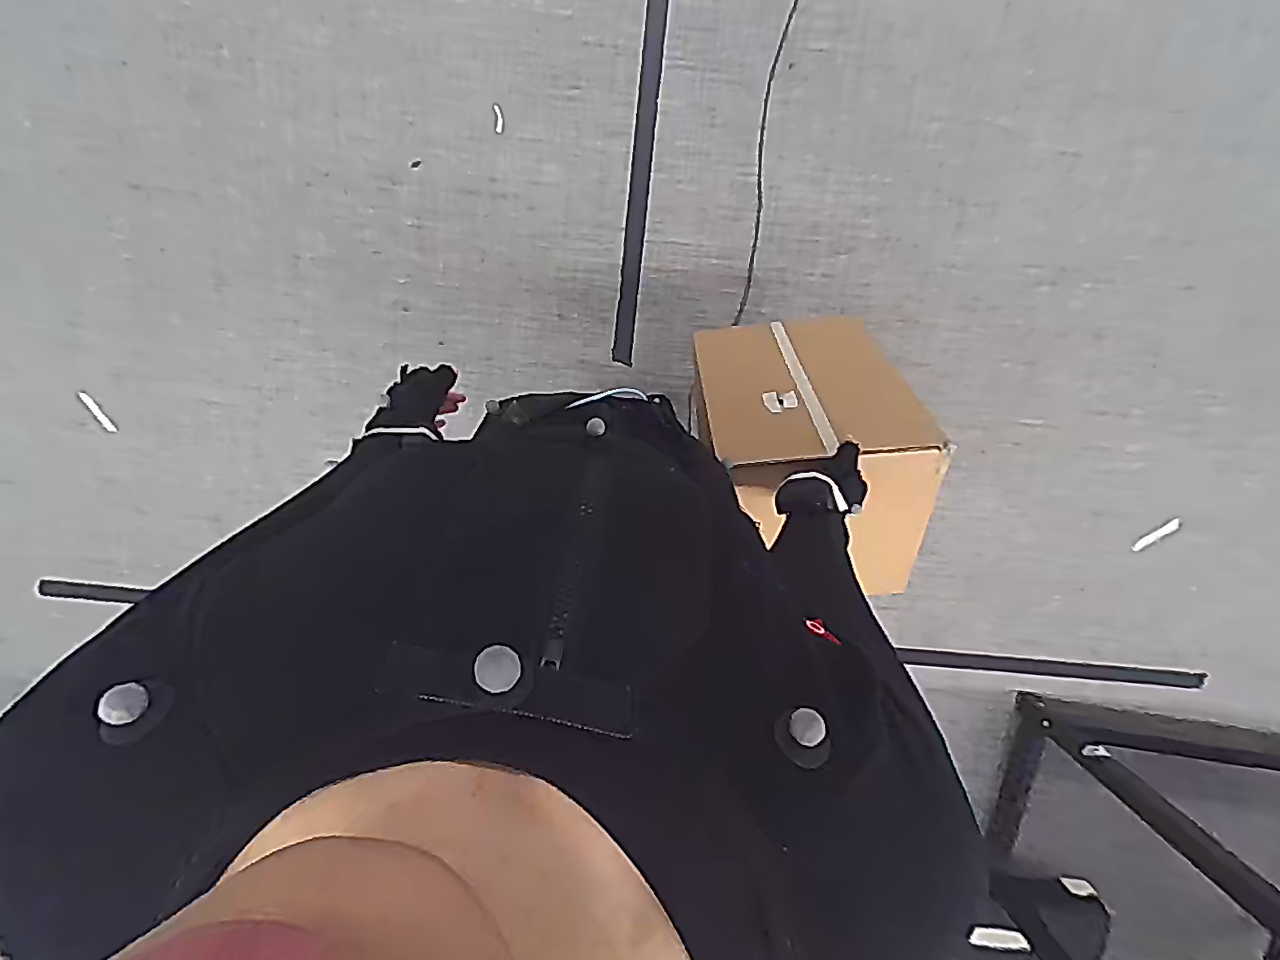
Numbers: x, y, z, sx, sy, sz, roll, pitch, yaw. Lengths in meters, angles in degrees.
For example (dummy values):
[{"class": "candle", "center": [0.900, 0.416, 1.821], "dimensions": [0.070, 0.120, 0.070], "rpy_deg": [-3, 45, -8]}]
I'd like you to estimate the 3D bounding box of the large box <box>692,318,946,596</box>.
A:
[{"class": "large box", "center": [0.271, -0.050, 0.980], "dimensions": [0.320, 0.408, 0.320], "rpy_deg": [-6, 133, 4]}]
